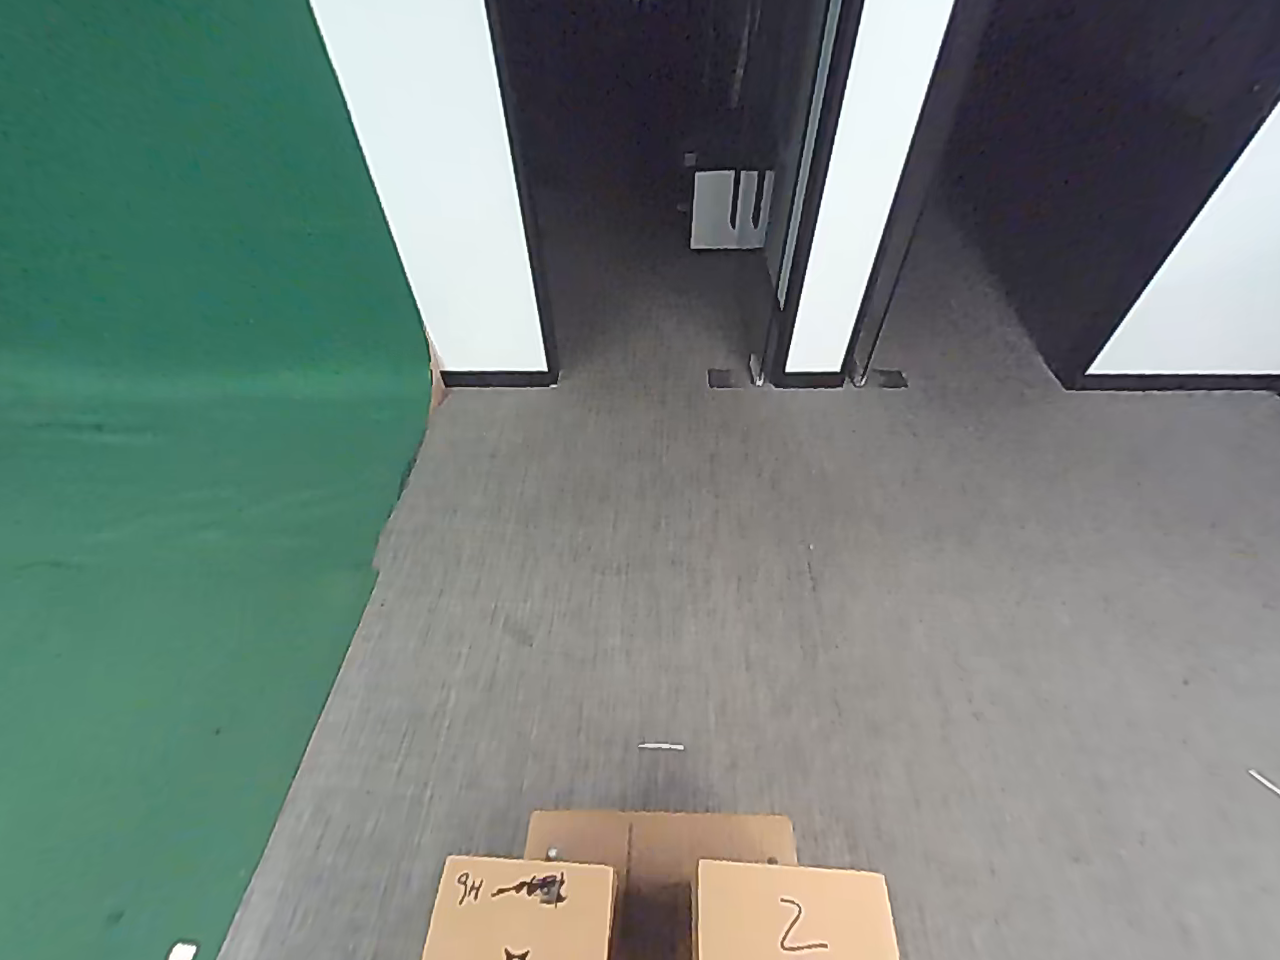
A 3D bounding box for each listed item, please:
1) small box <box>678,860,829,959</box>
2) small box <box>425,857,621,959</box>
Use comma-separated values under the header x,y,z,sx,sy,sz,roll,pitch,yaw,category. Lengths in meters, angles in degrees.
x,y,z,sx,sy,sz,roll,pitch,yaw,category
0.131,0.586,0.654,0.168,0.176,0.179,2,47,5,small box
-0.109,0.490,0.530,0.168,0.176,0.179,2,50,3,small box
